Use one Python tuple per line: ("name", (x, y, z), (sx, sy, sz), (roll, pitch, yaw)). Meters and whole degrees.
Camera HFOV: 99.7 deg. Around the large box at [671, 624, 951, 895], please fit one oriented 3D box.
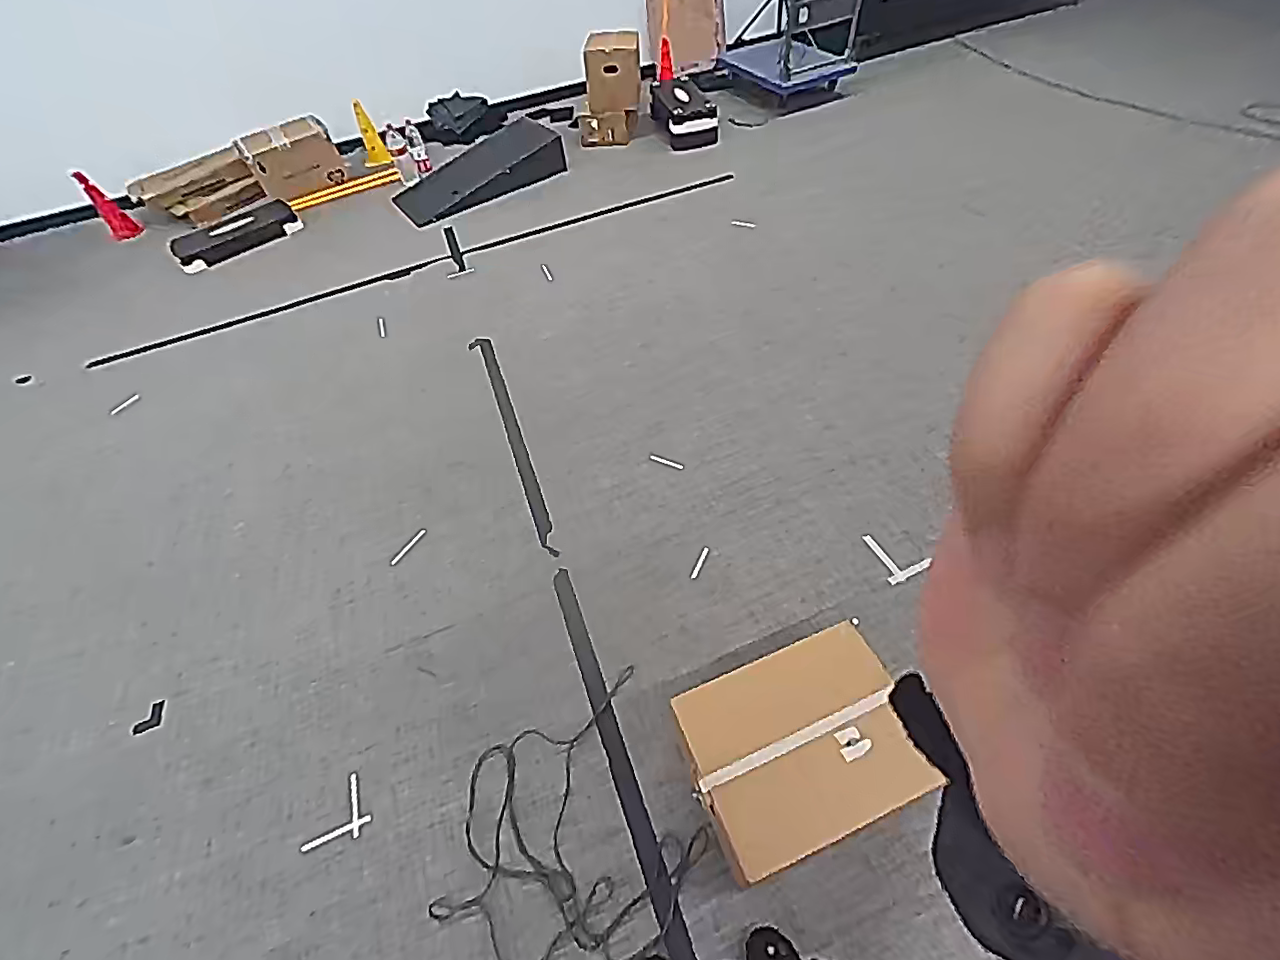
("large box", (0.310, 0.562, 1.093), (0.408, 0.320, 0.320), (-20, 52, -10))
